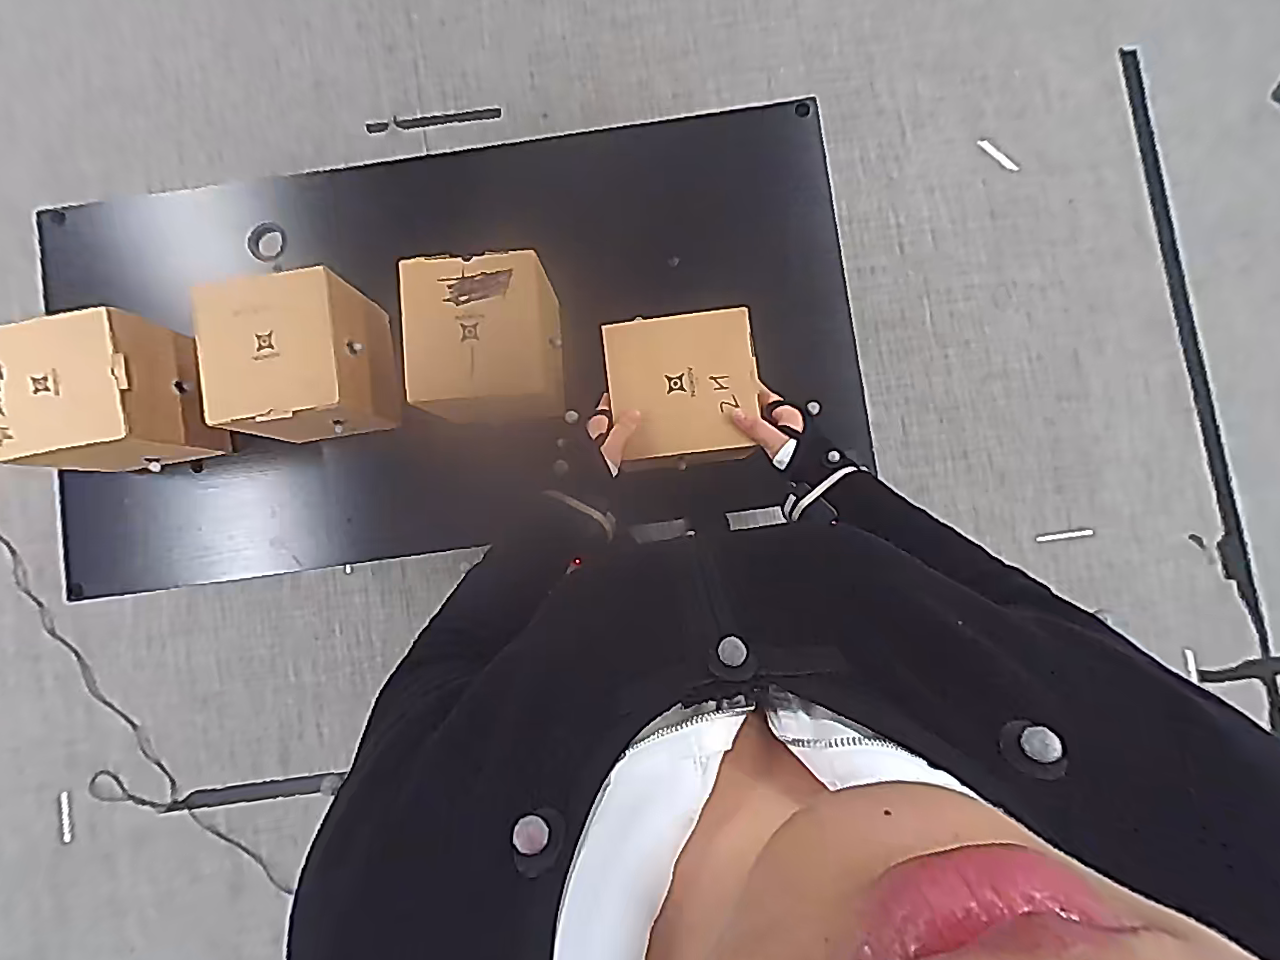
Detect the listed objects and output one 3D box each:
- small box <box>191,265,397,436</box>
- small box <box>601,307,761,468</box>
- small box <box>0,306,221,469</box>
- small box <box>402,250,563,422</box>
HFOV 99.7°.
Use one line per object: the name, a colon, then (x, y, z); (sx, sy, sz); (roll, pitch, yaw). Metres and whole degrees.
small box: (-0.448, -0.159, 0.726); (0.168, 0.176, 0.179); (-9, 86, 0)
small box: (0.050, -0.110, 0.714); (0.179, 0.176, 0.168); (-7, 87, 1)
small box: (-0.706, -0.112, 0.725); (0.179, 0.176, 0.168); (-10, 86, -1)
small box: (-0.199, -0.181, 0.722); (0.168, 0.176, 0.179); (-4, 88, 0)
